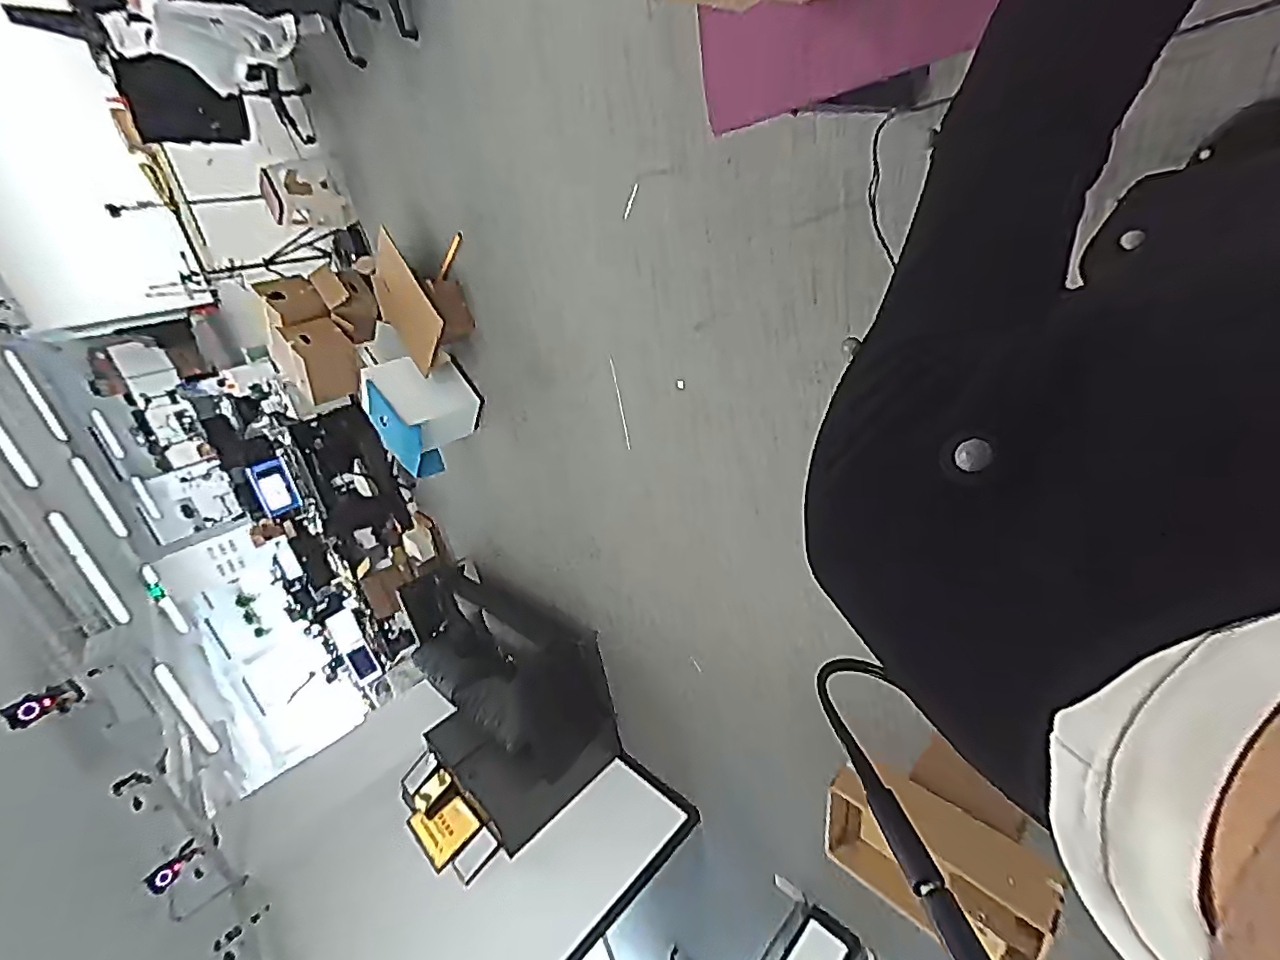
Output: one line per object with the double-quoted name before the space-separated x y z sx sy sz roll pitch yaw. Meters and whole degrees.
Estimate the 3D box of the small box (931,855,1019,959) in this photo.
"small box" 0.987 1.269 1.593 0.168 0.176 0.179 21 128 41
